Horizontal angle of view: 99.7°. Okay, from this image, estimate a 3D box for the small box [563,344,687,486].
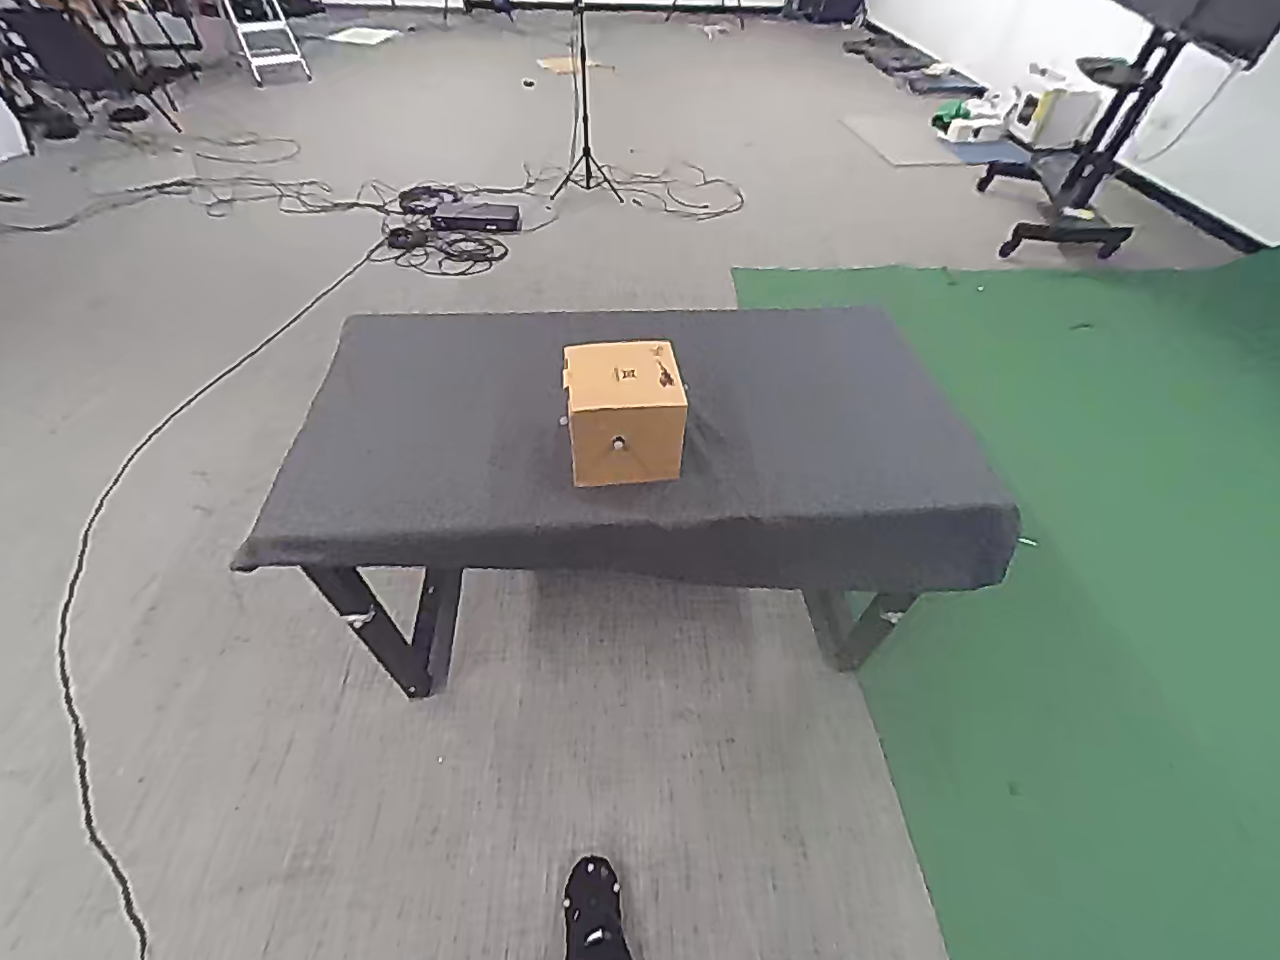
[{"bbox_3d":[-0.028,-0.106,0.904,0.179,0.176,0.168,-7,47,-8],"label":"small box"}]
